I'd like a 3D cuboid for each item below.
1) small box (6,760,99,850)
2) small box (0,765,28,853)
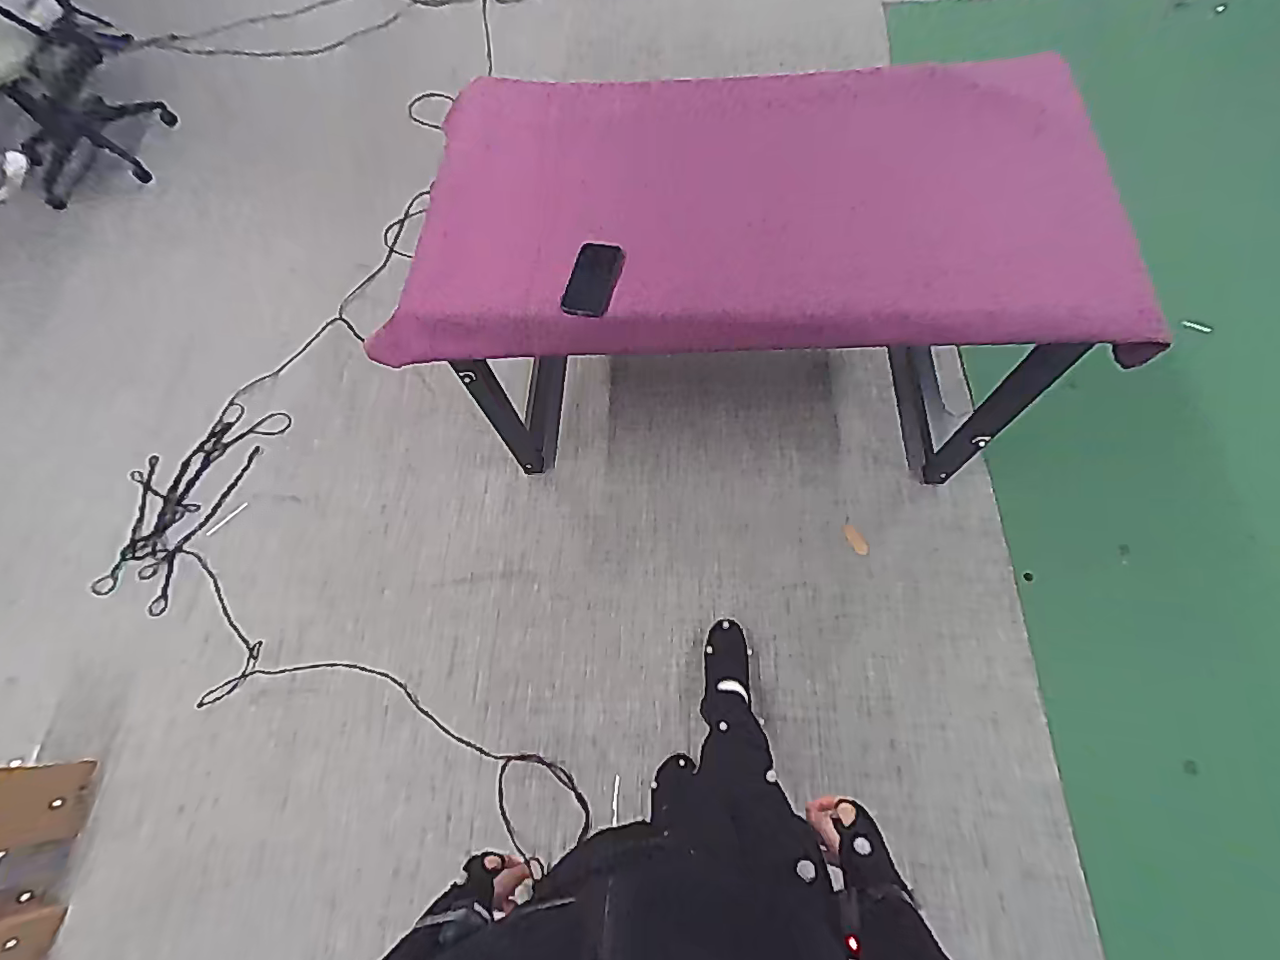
[{"bbox_3d":[-1.466,0.772,1.287,0.179,0.176,0.168,-7,66,3],"label":"small box"},{"bbox_3d":[-1.467,0.715,1.134,0.168,0.176,0.179,-11,67,0],"label":"small box"}]
